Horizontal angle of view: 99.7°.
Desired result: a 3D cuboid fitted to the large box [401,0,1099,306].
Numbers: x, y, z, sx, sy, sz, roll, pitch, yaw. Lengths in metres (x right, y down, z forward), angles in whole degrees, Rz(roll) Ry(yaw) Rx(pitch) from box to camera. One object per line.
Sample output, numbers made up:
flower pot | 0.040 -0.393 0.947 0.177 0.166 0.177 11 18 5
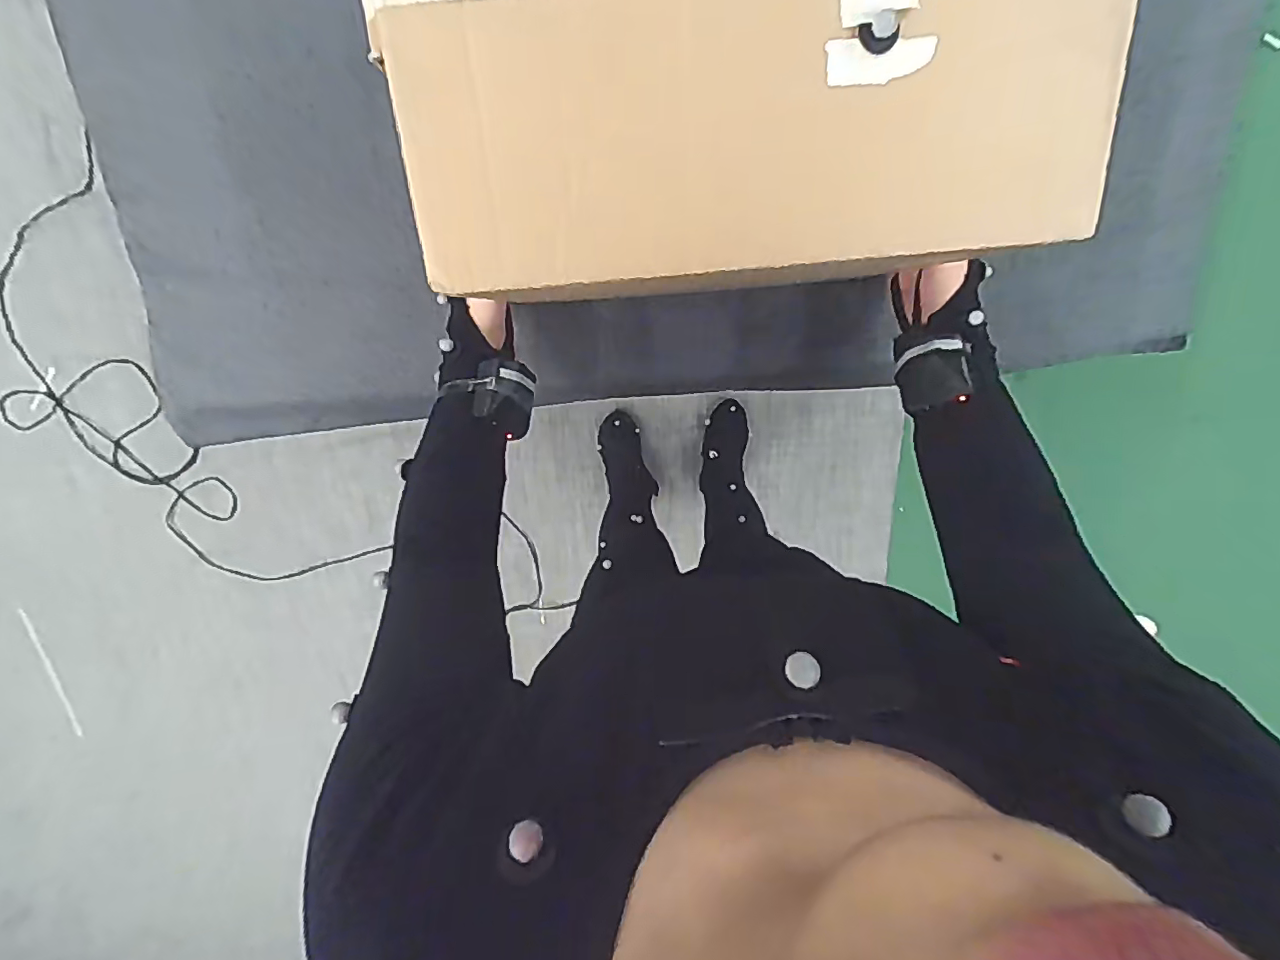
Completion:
large box | 0.058 -0.328 0.447 0.408 0.320 0.320 -5 107 1
